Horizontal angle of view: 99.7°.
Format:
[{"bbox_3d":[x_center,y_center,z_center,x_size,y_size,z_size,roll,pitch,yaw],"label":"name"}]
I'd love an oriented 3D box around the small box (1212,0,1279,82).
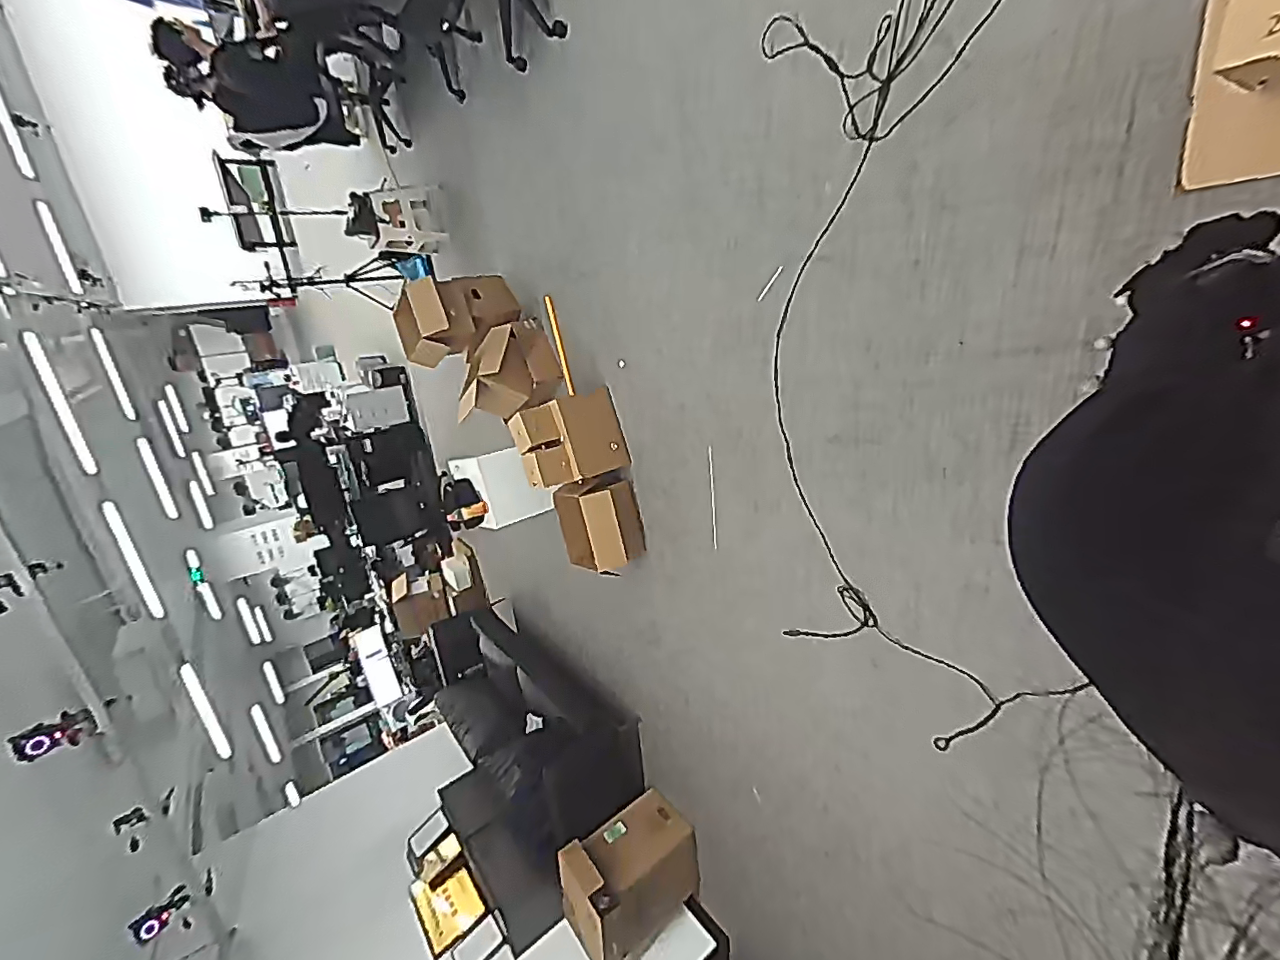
[{"bbox_3d":[0.886,-0.645,0.691,0.168,0.176,0.179,21,124,50],"label":"small box"}]
